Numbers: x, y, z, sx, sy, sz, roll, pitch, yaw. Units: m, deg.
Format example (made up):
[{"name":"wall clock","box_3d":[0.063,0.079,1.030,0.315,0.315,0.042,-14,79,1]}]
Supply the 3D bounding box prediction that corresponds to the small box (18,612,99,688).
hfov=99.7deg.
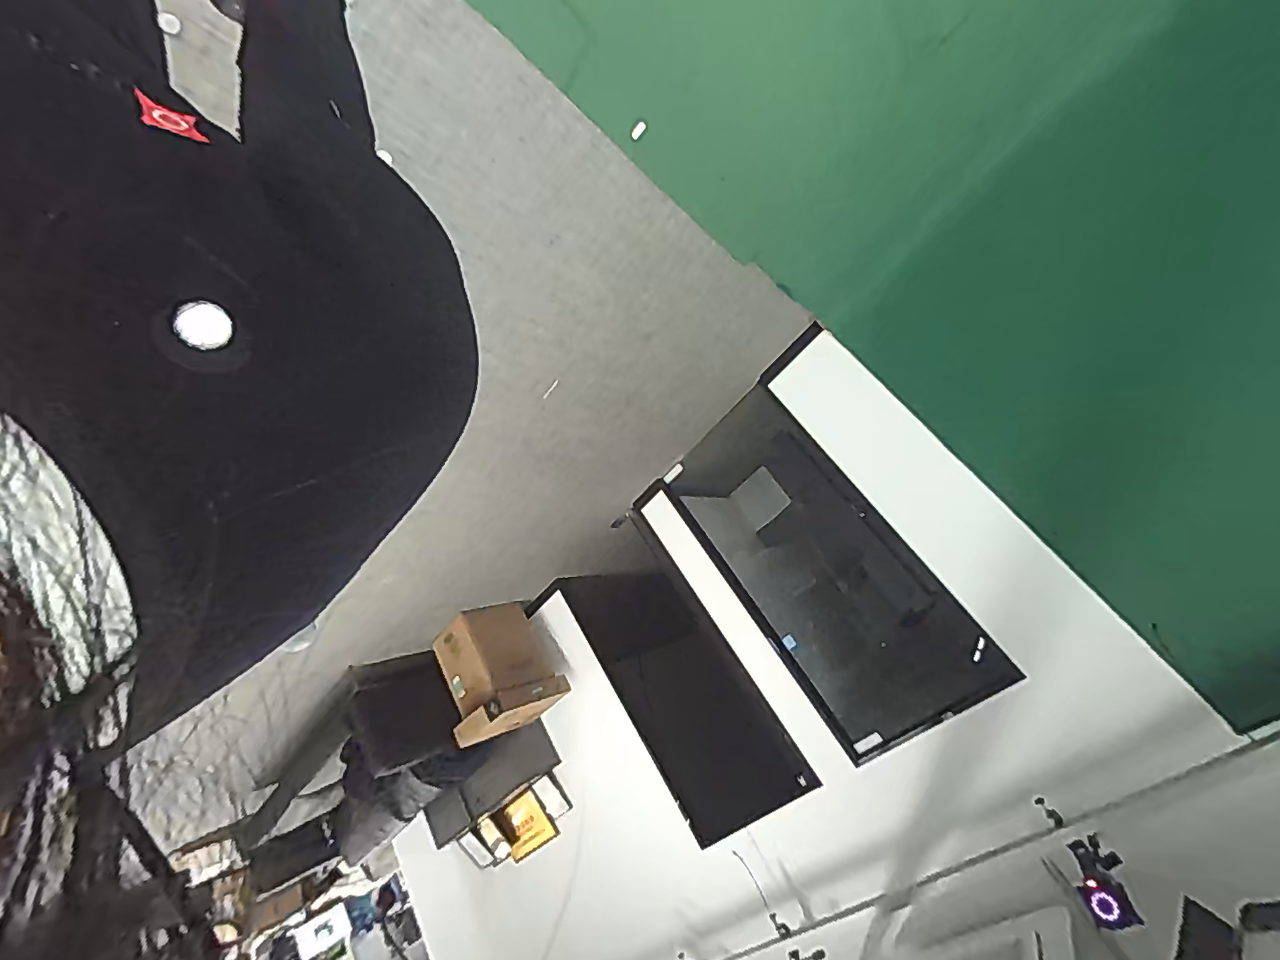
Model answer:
[{"name":"small box","box_3d":[-2.005,0.578,1.861,0.179,0.176,0.168,-46,155,25]}]
